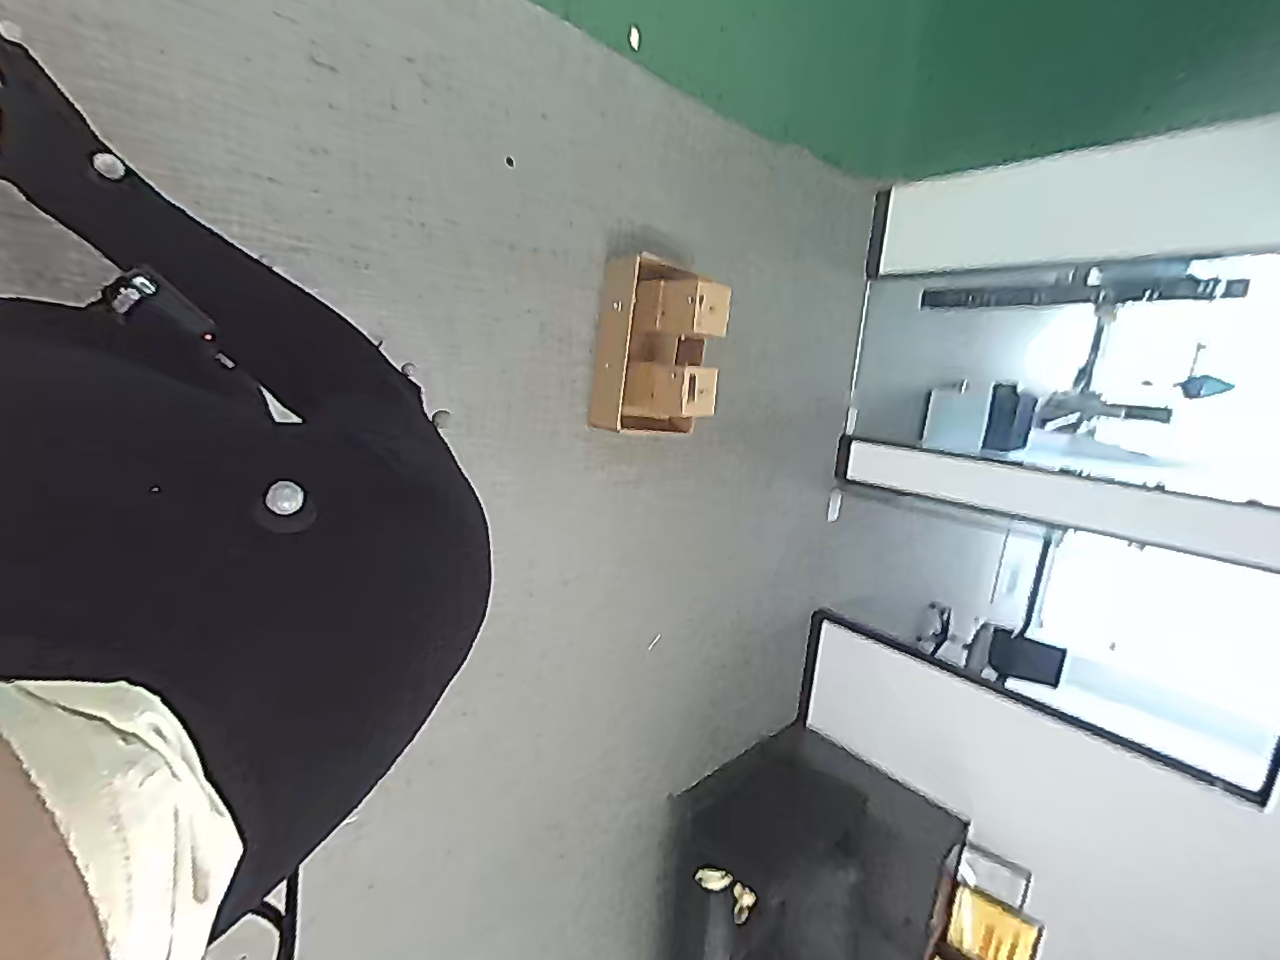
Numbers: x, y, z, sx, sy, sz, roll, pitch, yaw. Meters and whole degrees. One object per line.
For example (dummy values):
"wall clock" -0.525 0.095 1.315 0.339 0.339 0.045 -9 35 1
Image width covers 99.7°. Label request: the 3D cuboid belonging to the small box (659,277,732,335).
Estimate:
"small box" 0.192 -0.598 1.865 0.179 0.176 0.168 -5 105 -44
